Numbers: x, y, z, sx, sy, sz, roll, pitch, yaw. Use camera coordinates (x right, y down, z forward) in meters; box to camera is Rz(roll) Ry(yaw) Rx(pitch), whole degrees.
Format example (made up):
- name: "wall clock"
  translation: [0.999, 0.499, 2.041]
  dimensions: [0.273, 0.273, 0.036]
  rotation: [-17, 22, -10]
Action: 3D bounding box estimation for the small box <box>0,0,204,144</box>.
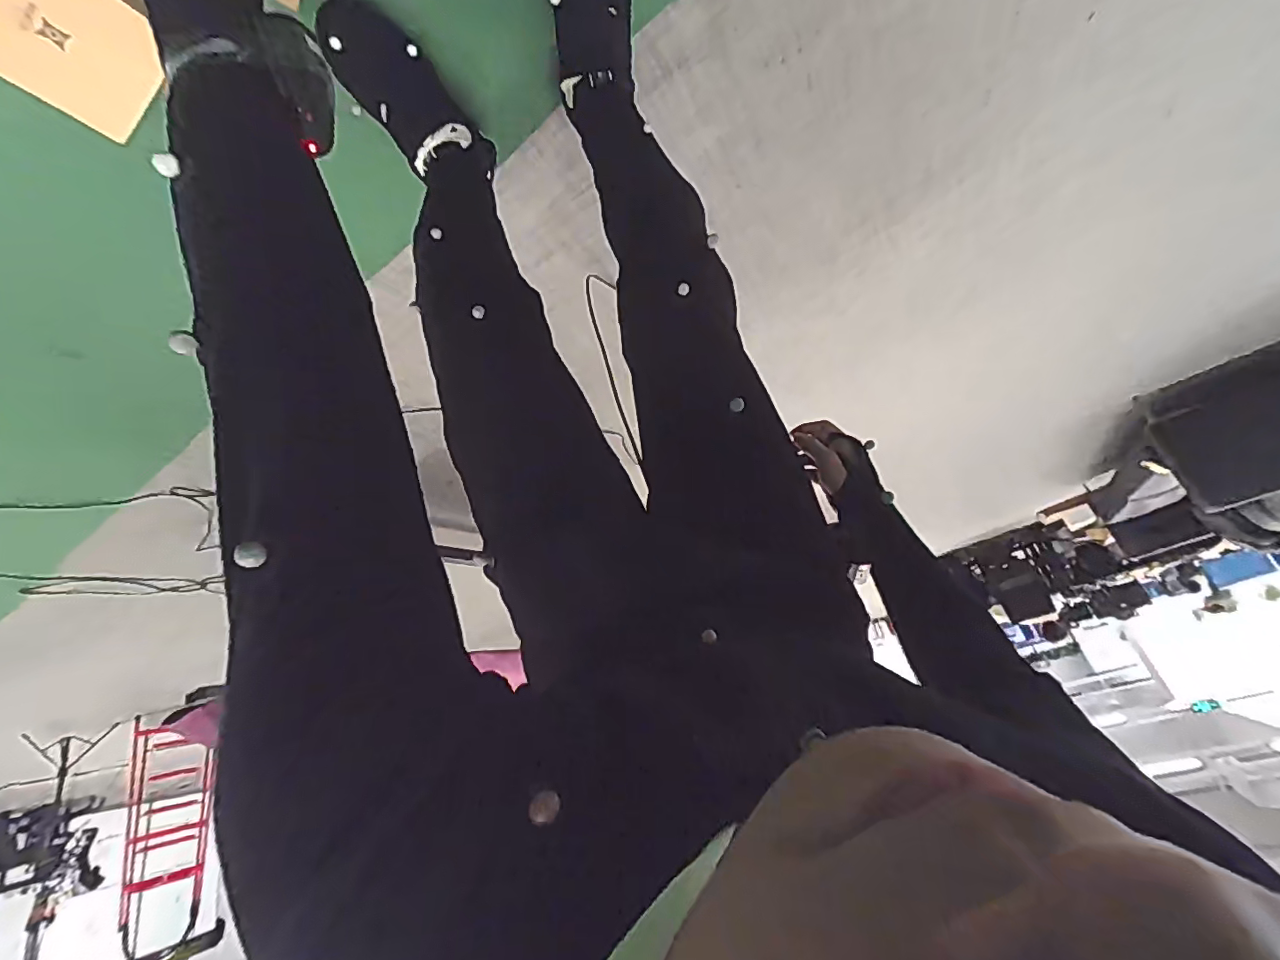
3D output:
- name: "small box"
  translation: [-0.625, -0.540, 0.603]
  dimensions: [0.168, 0.176, 0.179]
  rotation: [-27, 152, 25]
